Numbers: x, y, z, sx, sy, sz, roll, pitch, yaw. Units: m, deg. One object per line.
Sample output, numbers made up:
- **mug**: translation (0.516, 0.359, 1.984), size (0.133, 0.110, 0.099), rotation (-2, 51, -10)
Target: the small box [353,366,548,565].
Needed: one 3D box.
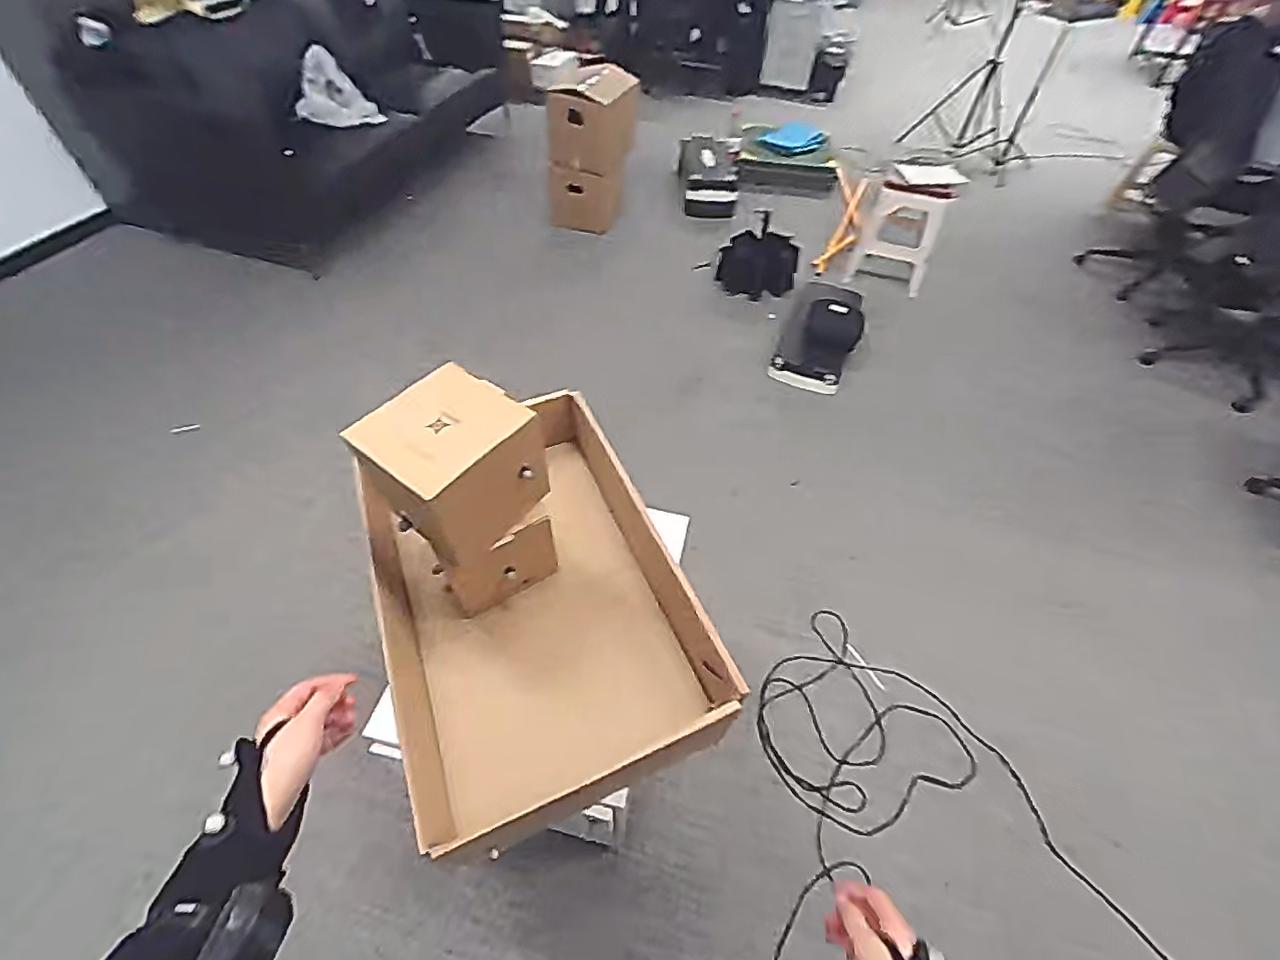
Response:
- **small box**: translation (-0.243, -0.019, 0.744), size (0.168, 0.176, 0.179), rotation (31, 59, 22)
